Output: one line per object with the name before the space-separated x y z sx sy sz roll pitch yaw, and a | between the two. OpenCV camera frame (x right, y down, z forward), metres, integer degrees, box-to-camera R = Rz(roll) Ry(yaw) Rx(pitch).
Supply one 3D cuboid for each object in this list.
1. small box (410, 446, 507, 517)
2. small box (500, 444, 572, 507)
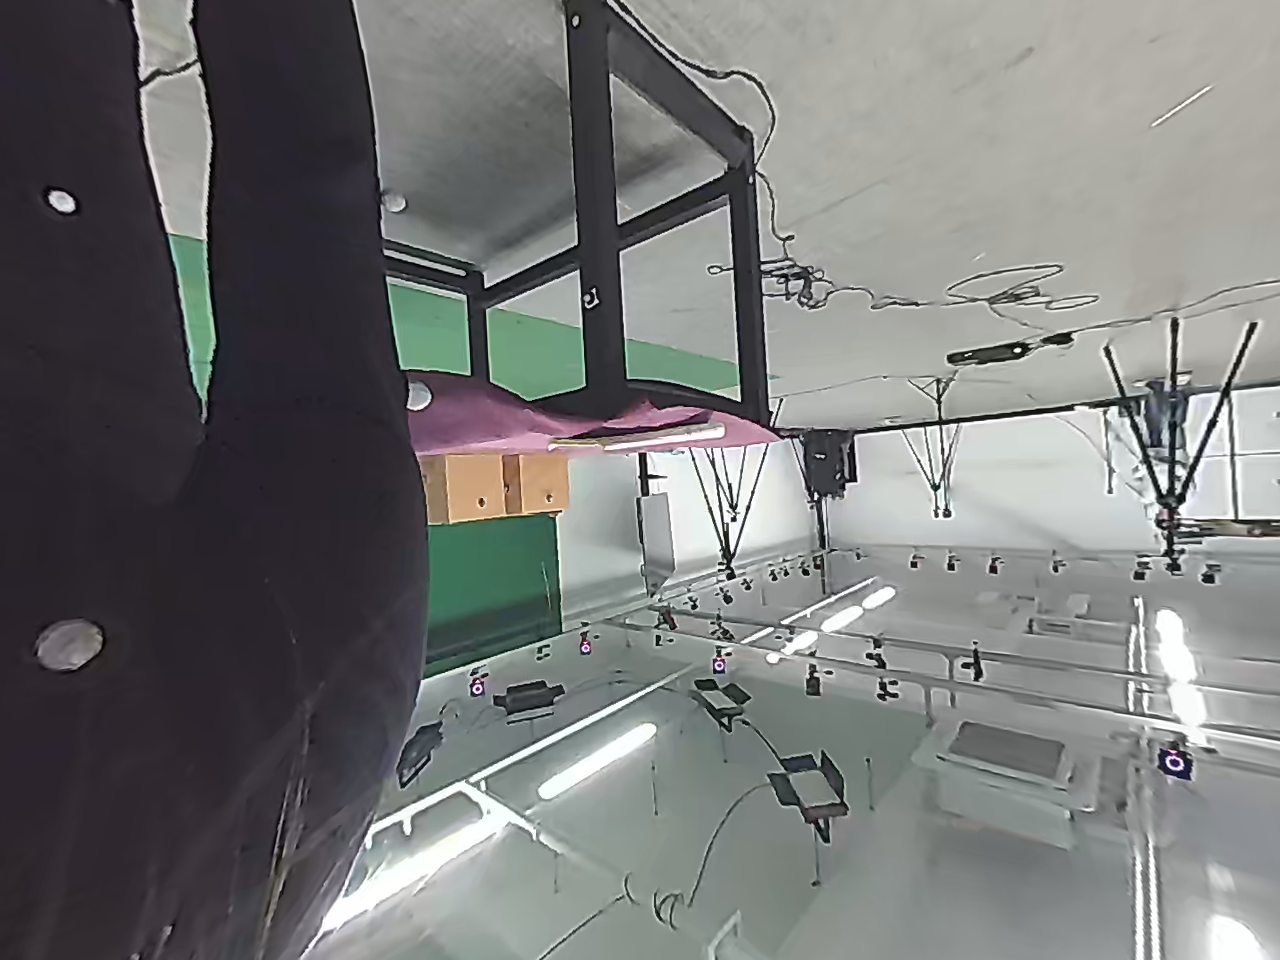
small box | -0.463 0.002 1.380 0.168 0.176 0.179 -4 180 35
small box | -0.319 -0.011 1.557 0.168 0.176 0.179 -4 180 41
